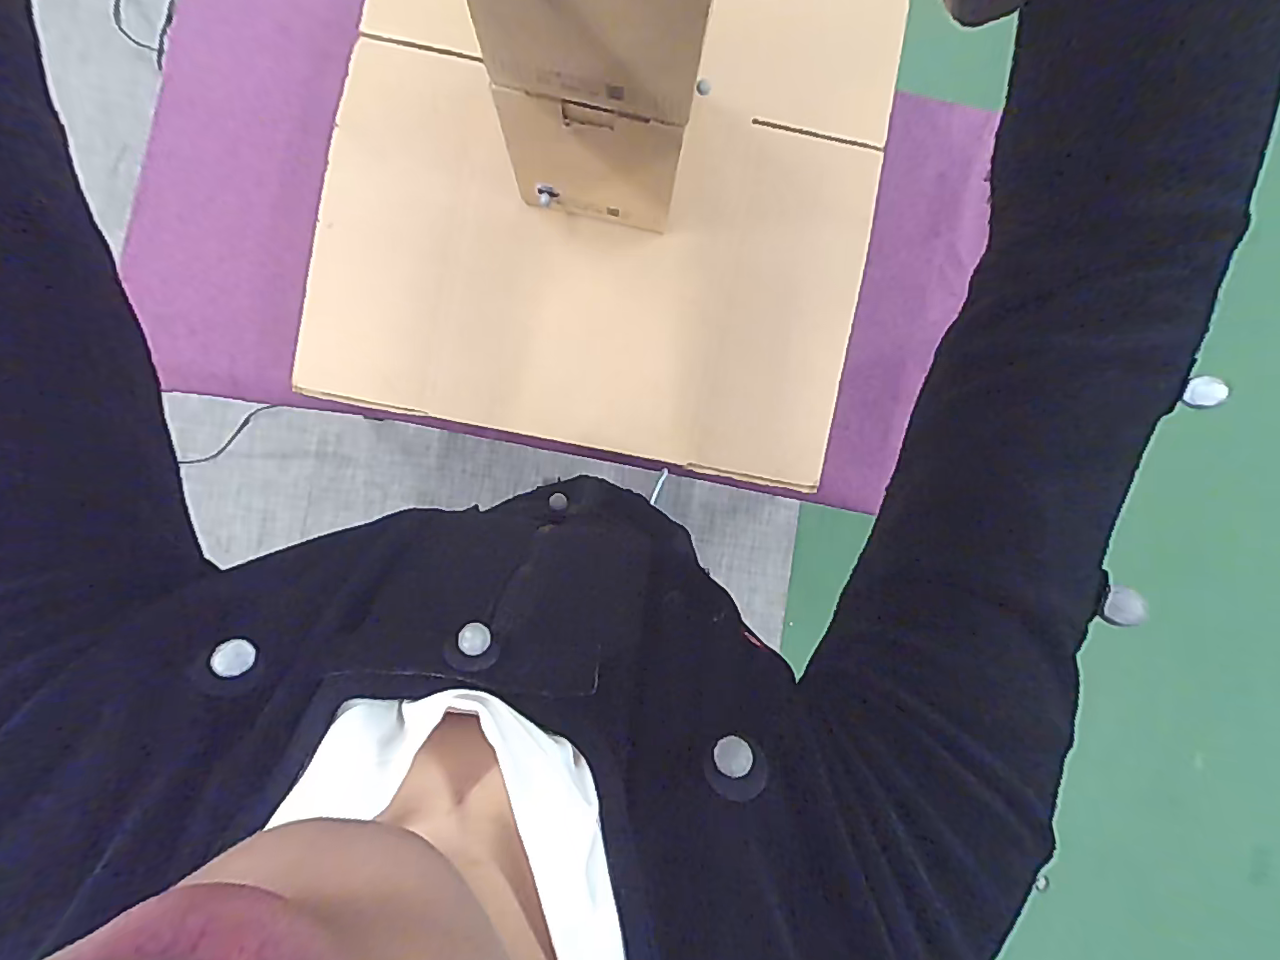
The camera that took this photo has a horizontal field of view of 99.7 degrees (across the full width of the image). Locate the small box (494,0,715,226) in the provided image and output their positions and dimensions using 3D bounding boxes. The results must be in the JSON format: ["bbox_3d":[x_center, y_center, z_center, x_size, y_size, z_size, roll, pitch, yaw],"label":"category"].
[{"bbox_3d":[-0.027,-0.382,0.528,0.168,0.176,0.179,12,86,-2],"label":"small box"}]
